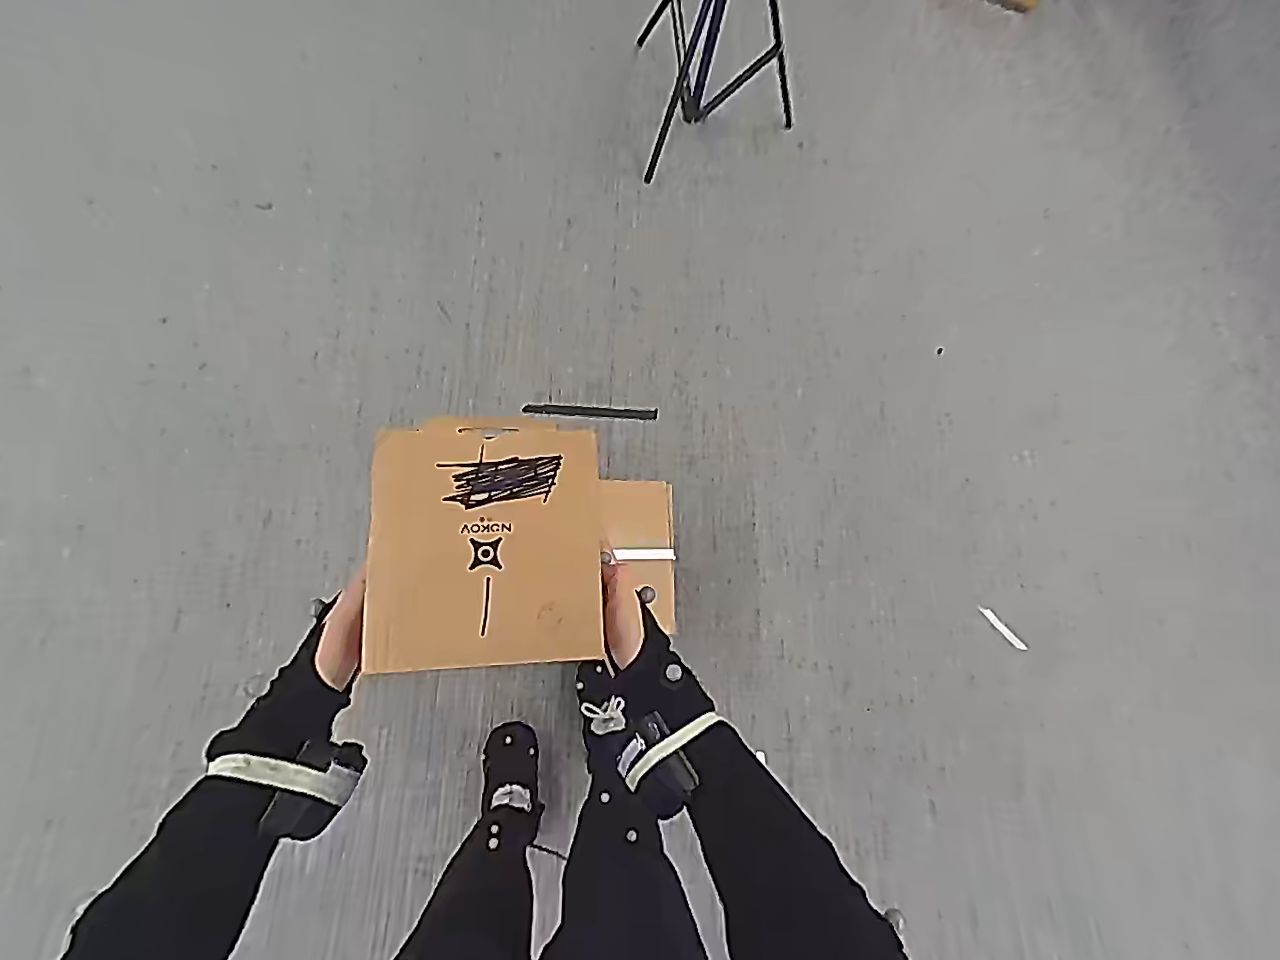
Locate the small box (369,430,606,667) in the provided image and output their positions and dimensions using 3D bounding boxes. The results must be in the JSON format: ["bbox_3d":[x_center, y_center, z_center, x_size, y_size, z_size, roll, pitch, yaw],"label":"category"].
[{"bbox_3d":[-0.121,0.066,0.480,0.168,0.176,0.179,-1,75,-8],"label":"small box"}]
